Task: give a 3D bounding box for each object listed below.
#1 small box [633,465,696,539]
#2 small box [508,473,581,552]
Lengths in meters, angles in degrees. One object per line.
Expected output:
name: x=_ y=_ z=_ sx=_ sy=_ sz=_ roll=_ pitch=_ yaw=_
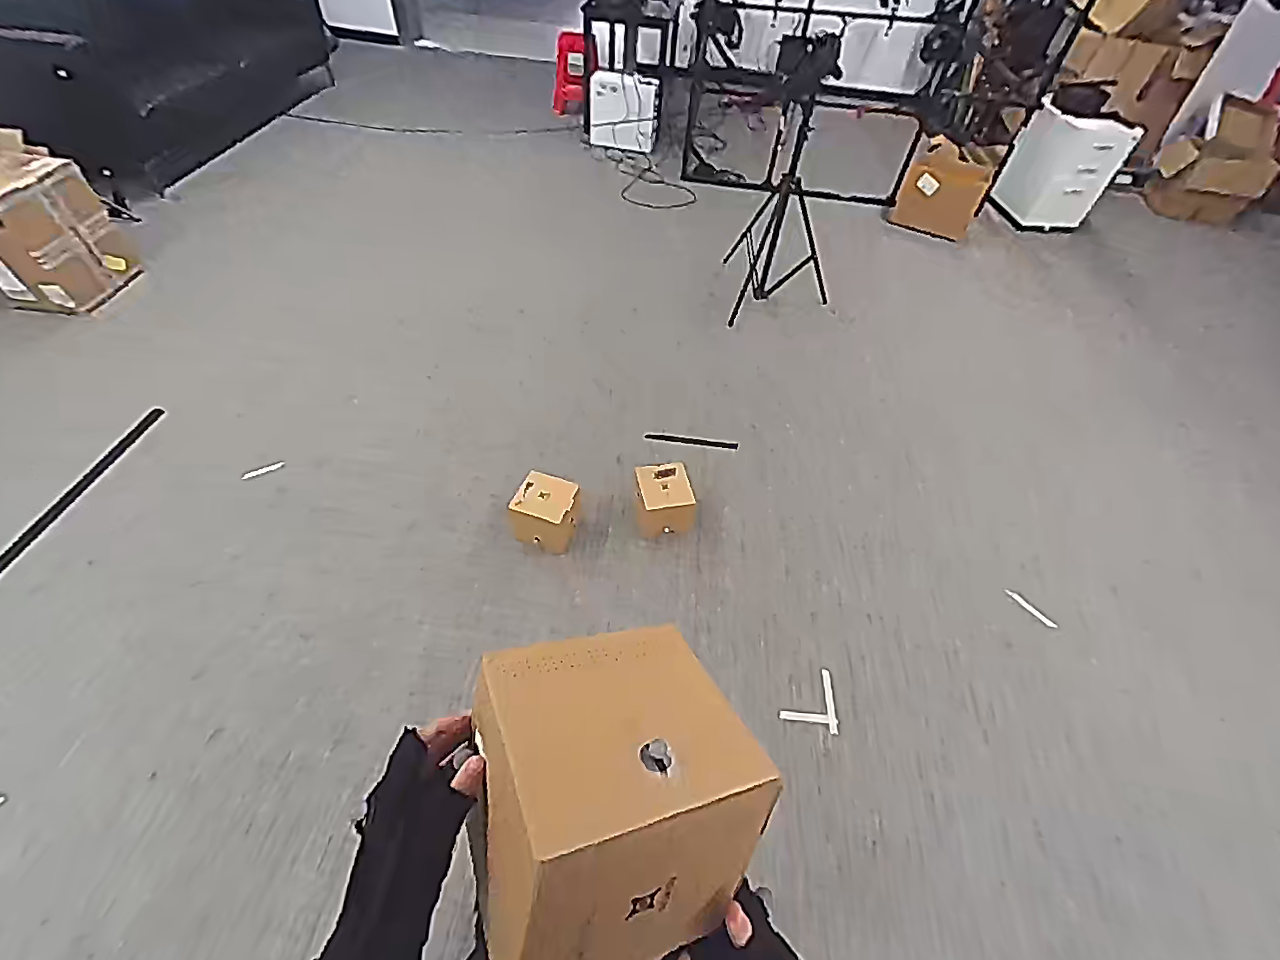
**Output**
small box: x=0.074 y=0.075 z=1.805 sx=0.168 sy=0.176 sz=0.179 roll=-8 pitch=52 yaw=-11
small box: x=-0.301 y=0.111 z=1.746 sx=0.179 sy=0.176 sz=0.168 roll=17 pitch=51 yaw=10
